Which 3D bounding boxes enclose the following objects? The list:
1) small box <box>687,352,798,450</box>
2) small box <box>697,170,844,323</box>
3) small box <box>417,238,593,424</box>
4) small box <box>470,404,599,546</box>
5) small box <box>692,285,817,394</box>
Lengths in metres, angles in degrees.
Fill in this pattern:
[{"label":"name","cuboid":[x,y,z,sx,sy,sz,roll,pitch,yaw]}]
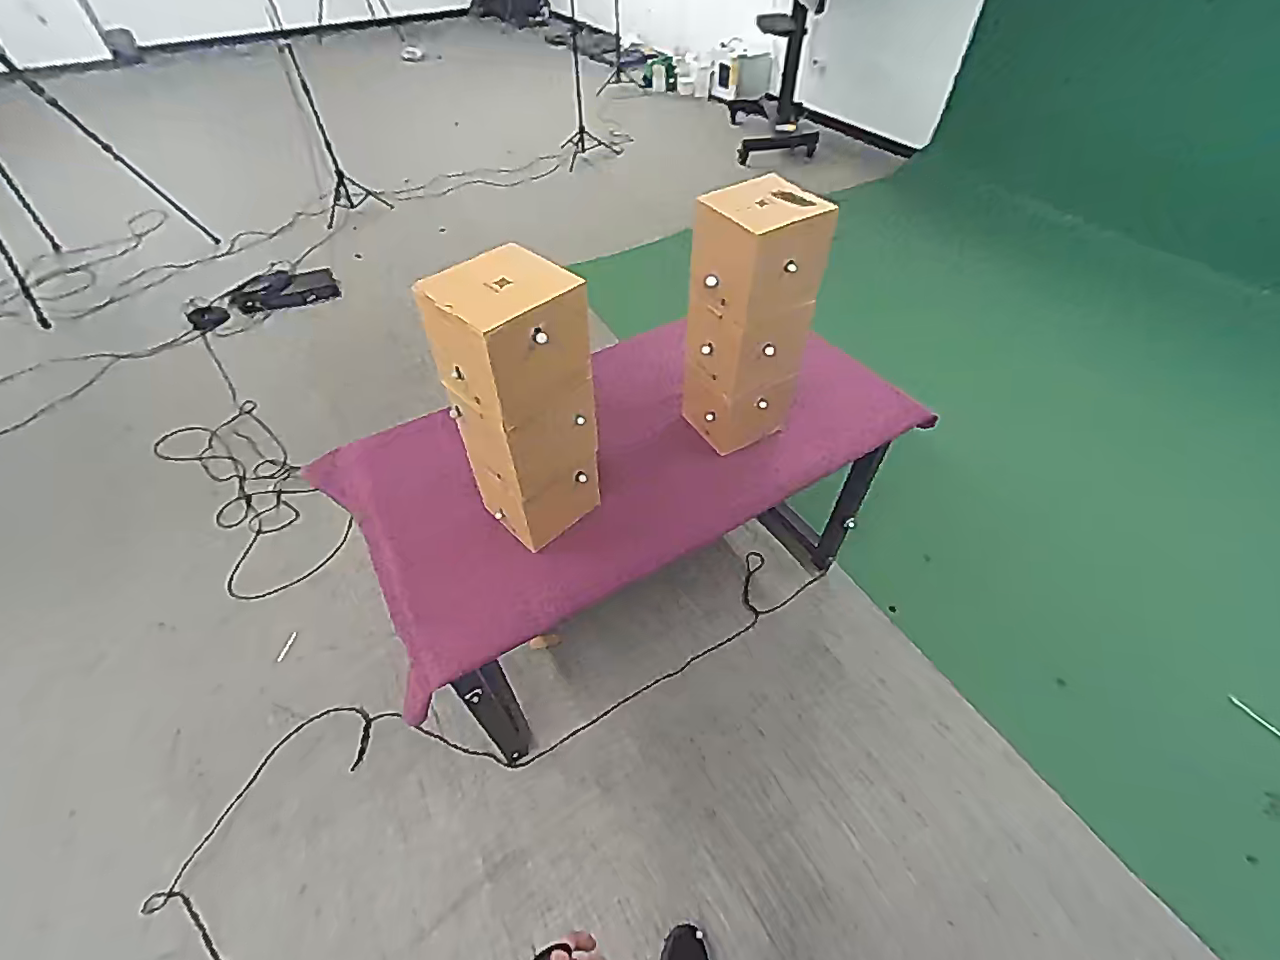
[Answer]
[{"label":"small box","cuboid":[0.217,-0.193,1.195,0.179,0.176,0.168,-23,54,-18]},{"label":"small box","cuboid":[0.215,-0.406,0.945,0.179,0.176,0.168,-26,55,-19]},{"label":"small box","cuboid":[-0.185,-0.216,0.786,0.168,0.176,0.179,36,59,26]},{"label":"small box","cuboid":[-0.193,-0.009,1.039,0.168,0.176,0.179,37,59,27]},{"label":"small box","cuboid":[0.216,-0.299,1.070,0.179,0.176,0.168,-25,55,-18]}]
